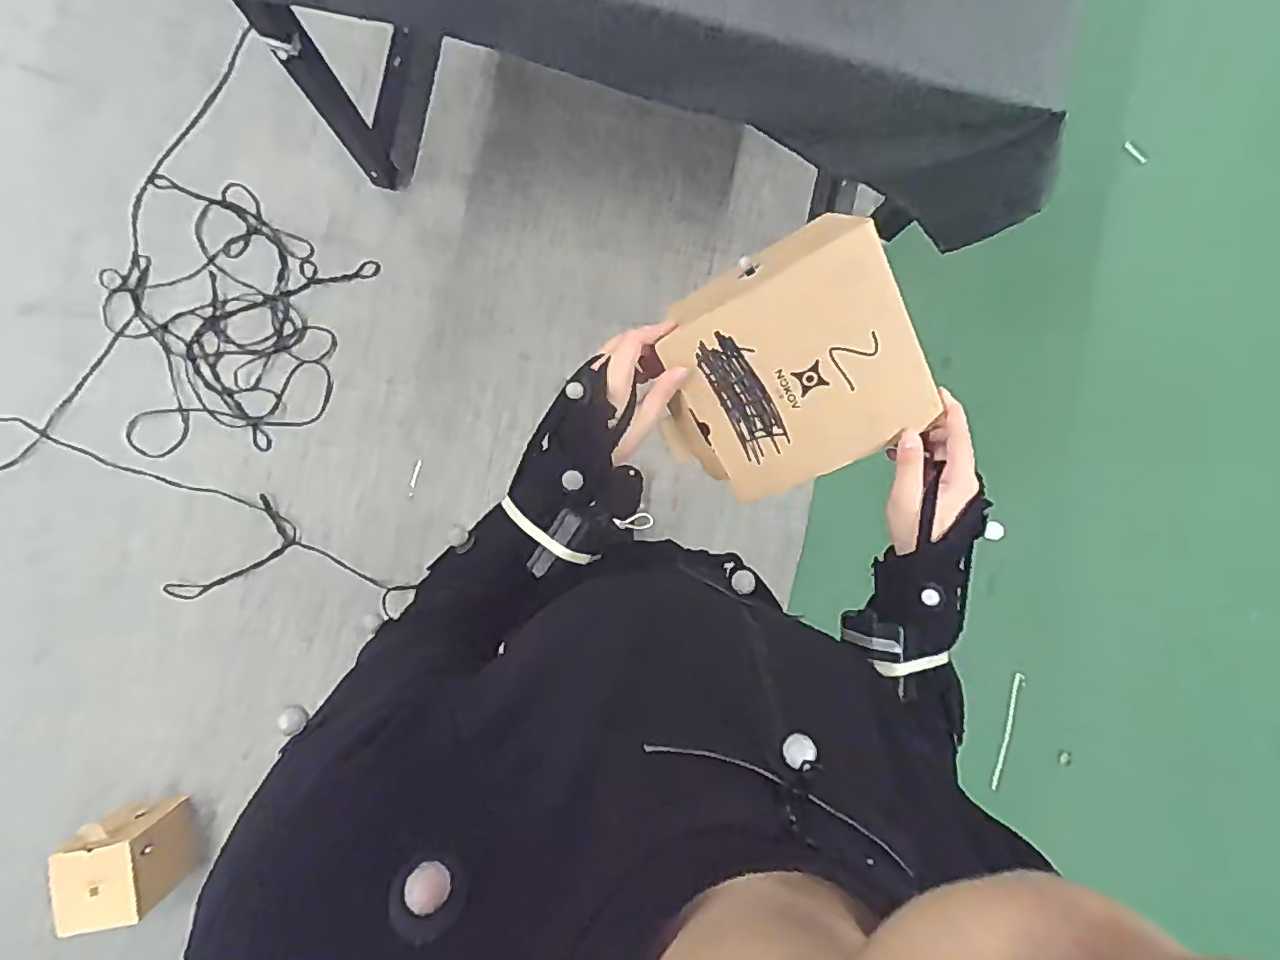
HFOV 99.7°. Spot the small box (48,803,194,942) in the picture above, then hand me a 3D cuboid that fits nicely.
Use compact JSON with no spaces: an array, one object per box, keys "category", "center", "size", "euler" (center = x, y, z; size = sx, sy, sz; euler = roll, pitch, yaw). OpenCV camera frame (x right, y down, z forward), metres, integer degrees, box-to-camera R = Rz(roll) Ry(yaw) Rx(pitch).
[{"category":"small box","center":[-1.138,0.860,1.201],"size":[0.168,0.176,0.179],"euler":[-8,89,-4]}]
